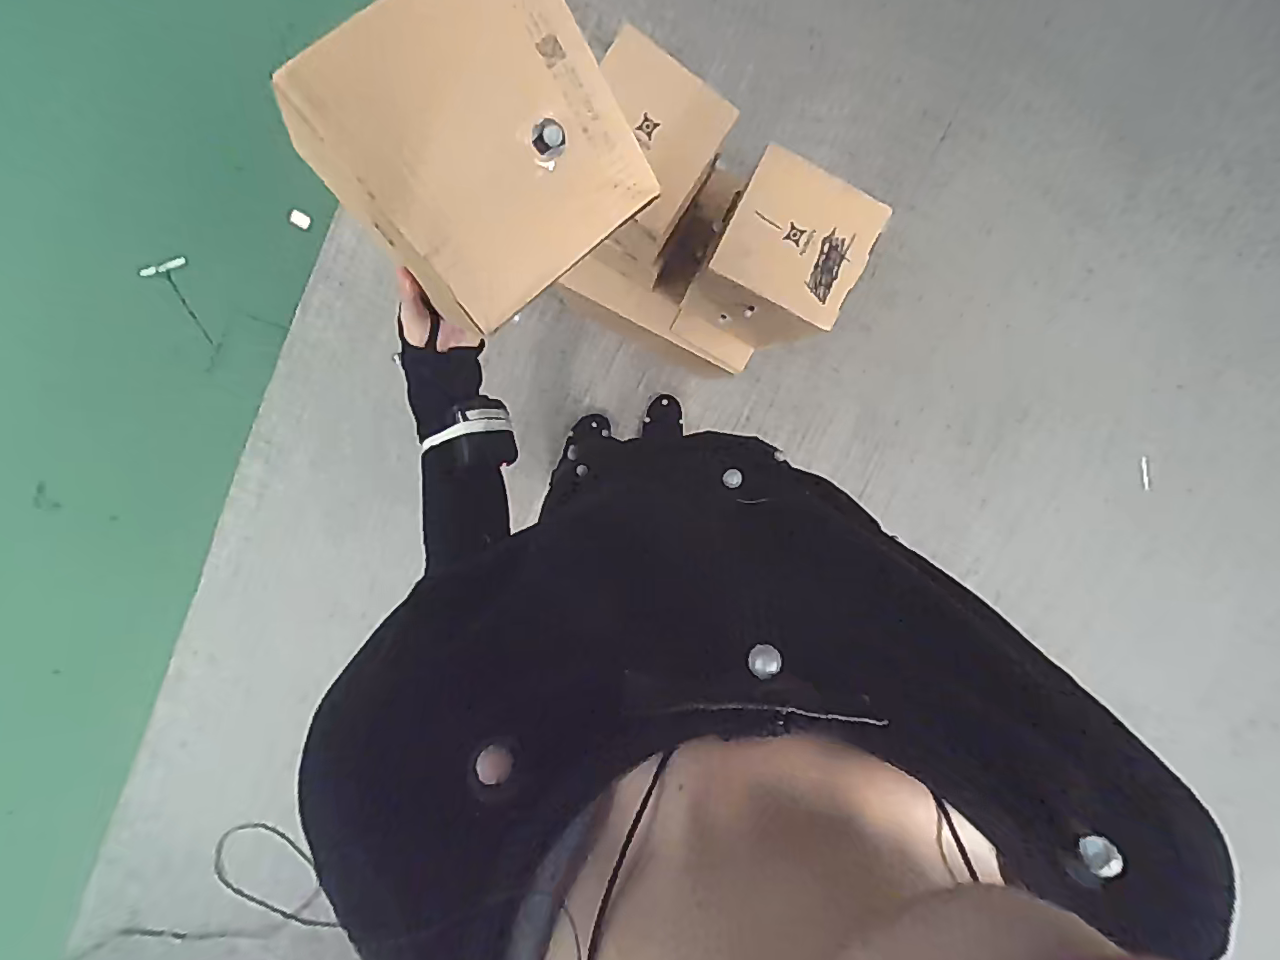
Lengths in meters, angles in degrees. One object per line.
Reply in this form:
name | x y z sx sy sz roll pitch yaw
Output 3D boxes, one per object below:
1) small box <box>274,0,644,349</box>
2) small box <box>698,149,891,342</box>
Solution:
small box | -0.126 -0.225 0.403 0.176 0.179 0.168 -44 123 -8
small box | 0.196 -0.303 0.745 0.179 0.176 0.168 27 97 -3
